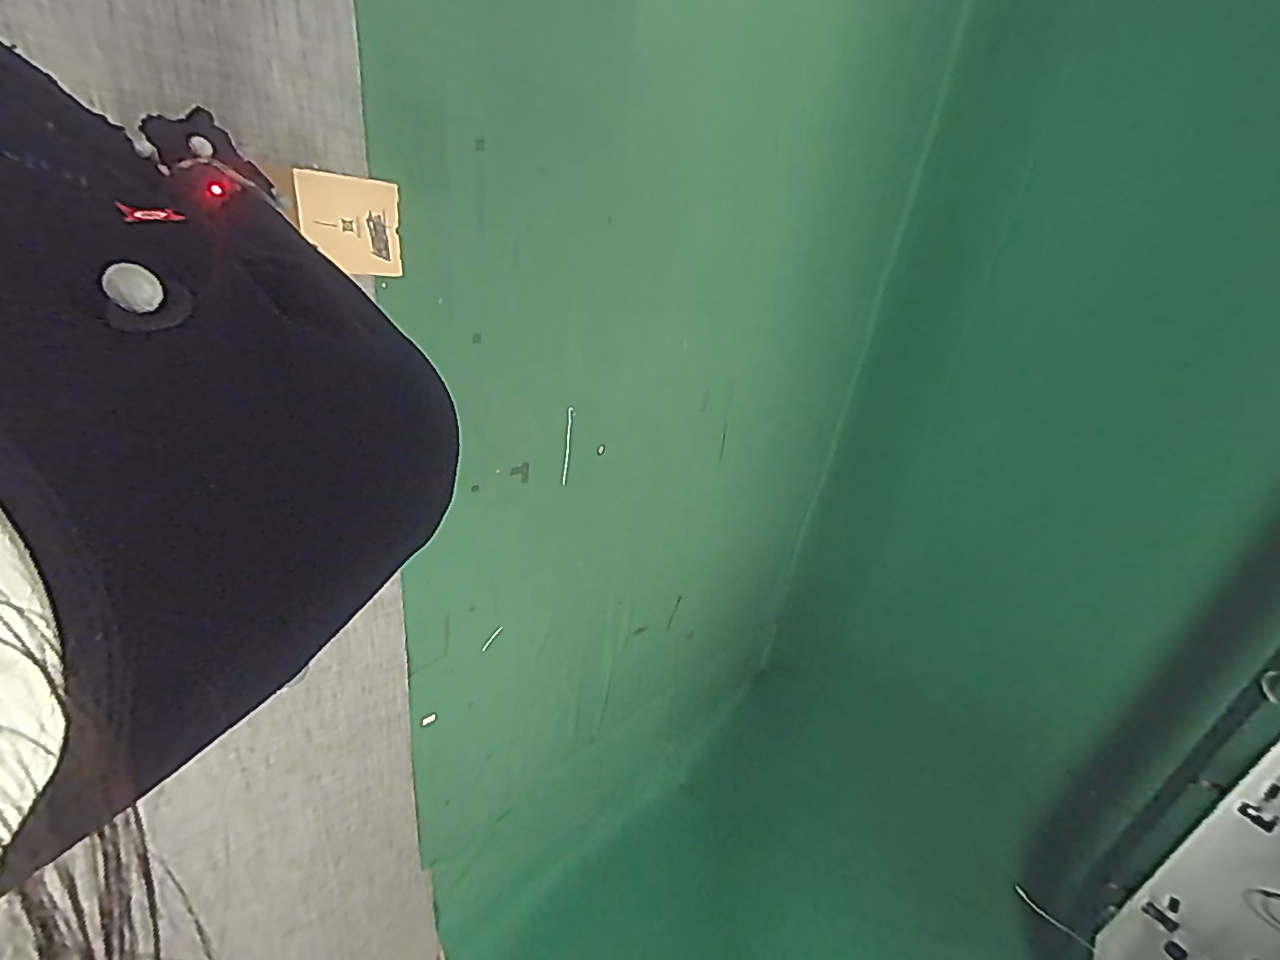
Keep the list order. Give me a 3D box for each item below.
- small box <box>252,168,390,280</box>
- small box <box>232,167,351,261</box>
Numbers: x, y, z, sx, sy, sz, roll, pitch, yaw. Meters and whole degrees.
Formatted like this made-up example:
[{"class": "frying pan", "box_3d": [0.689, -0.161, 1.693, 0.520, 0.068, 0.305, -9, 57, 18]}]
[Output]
[{"class": "small box", "box_3d": [-0.596, -0.480, 1.018, 0.179, 0.176, 0.168, -16, 123, -44]}, {"class": "small box", "box_3d": [-0.707, -0.545, 1.121, 0.179, 0.176, 0.168, -19, 125, -42]}]
